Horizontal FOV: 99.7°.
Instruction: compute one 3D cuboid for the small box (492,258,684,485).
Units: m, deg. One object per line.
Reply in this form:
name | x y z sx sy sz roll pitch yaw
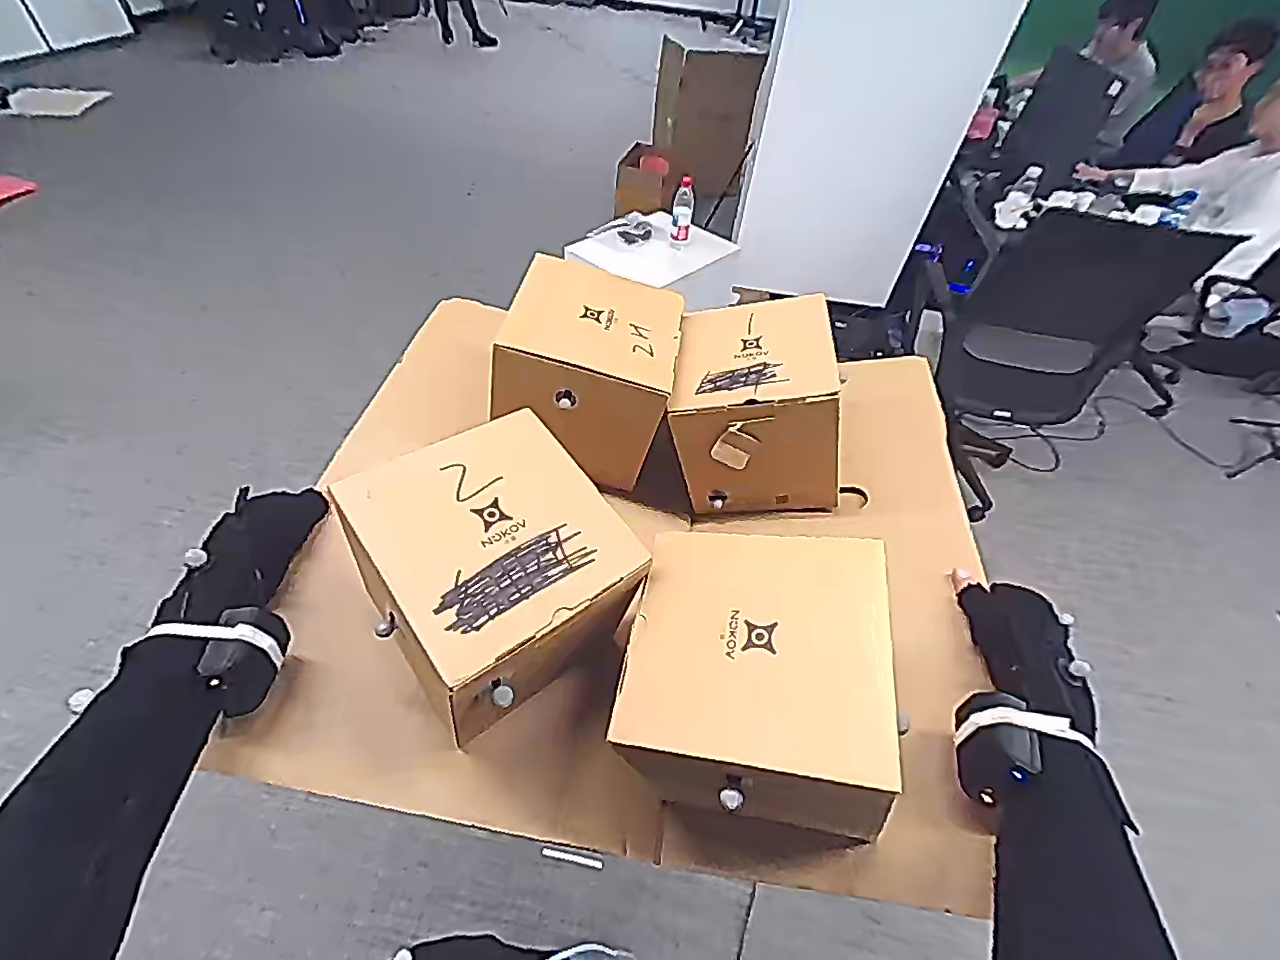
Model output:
small box | -0.063 -0.117 0.621 0.179 0.176 0.168 16 52 -6
